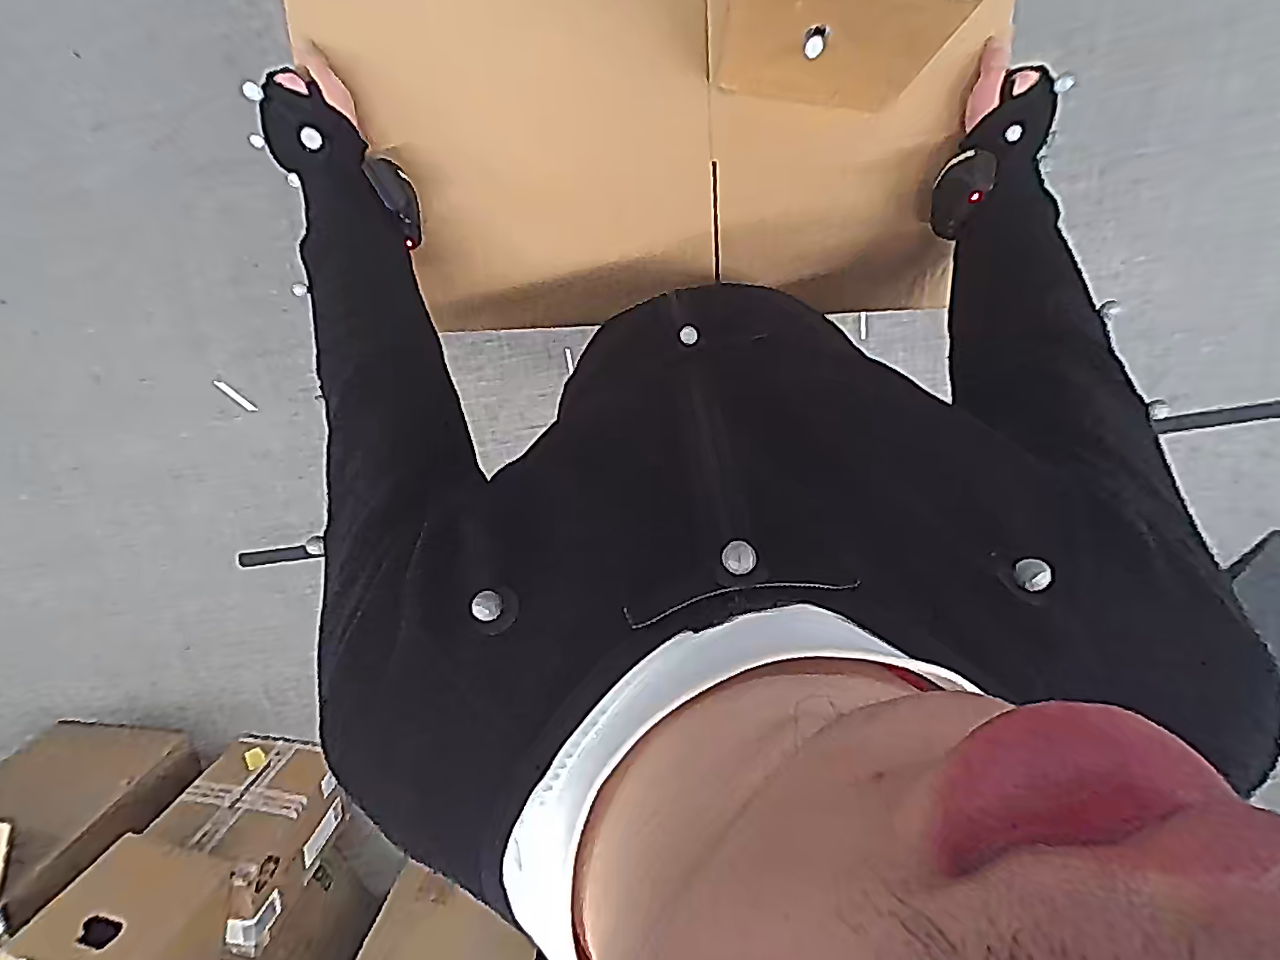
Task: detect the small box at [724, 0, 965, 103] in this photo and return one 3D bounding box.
[{"bbox_3d":[0.175,-0.455,0.457,0.179,0.176,0.168,8,101,0],"label":"small box"}]
